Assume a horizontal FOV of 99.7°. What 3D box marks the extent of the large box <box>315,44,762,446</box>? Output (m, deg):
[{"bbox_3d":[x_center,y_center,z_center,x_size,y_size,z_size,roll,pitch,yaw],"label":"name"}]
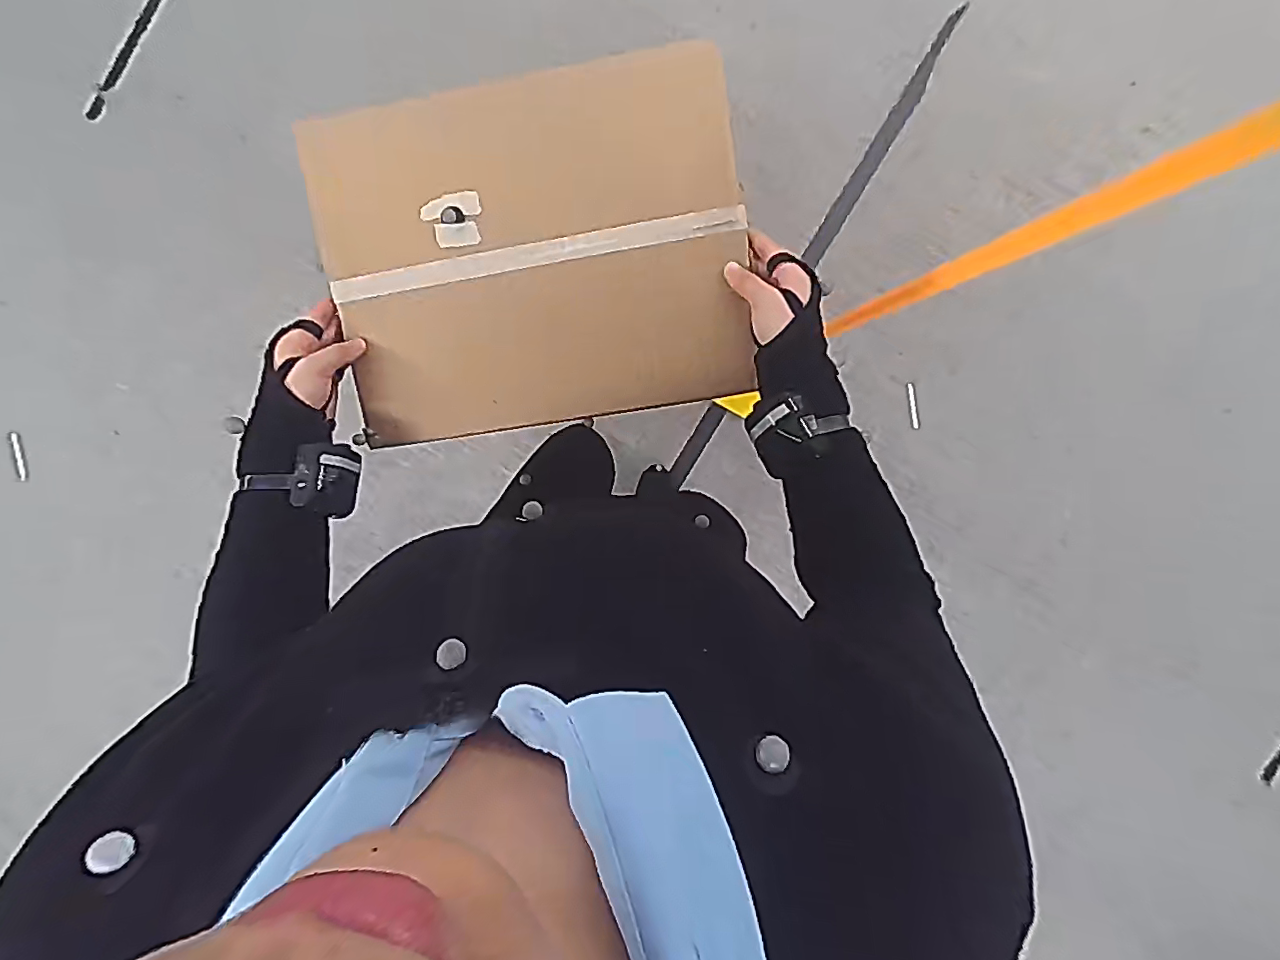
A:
[{"bbox_3d":[-0.088,-0.241,0.676,0.408,0.320,0.320,-9,98,5],"label":"large box"}]
